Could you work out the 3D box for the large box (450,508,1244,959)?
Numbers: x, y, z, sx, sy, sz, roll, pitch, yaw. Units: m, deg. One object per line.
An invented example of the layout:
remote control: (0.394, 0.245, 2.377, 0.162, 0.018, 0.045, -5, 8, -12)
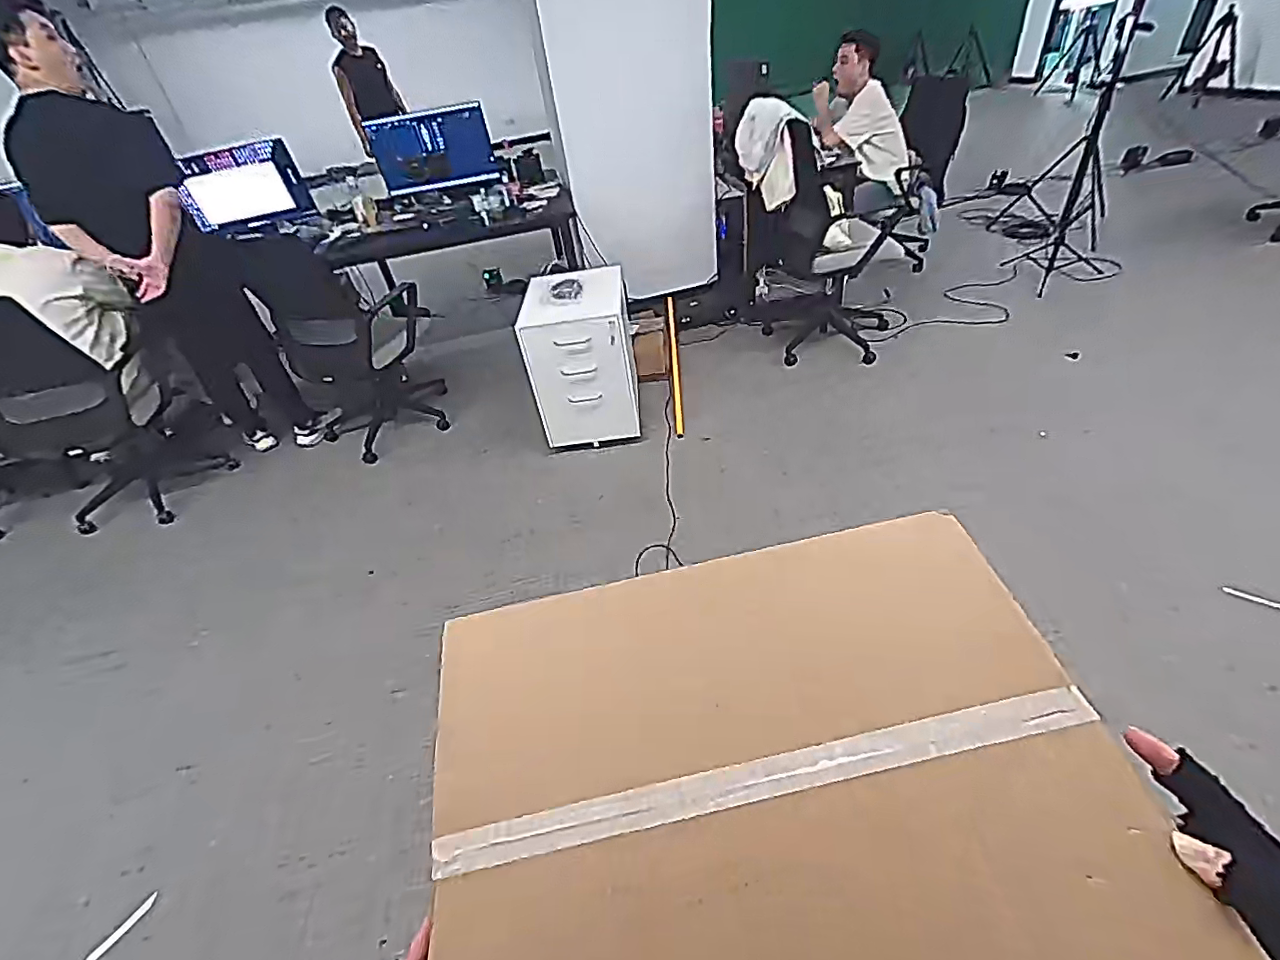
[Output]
large box: (0.093, 0.274, 0.456, 0.408, 0.320, 0.320, -13, 51, -1)
